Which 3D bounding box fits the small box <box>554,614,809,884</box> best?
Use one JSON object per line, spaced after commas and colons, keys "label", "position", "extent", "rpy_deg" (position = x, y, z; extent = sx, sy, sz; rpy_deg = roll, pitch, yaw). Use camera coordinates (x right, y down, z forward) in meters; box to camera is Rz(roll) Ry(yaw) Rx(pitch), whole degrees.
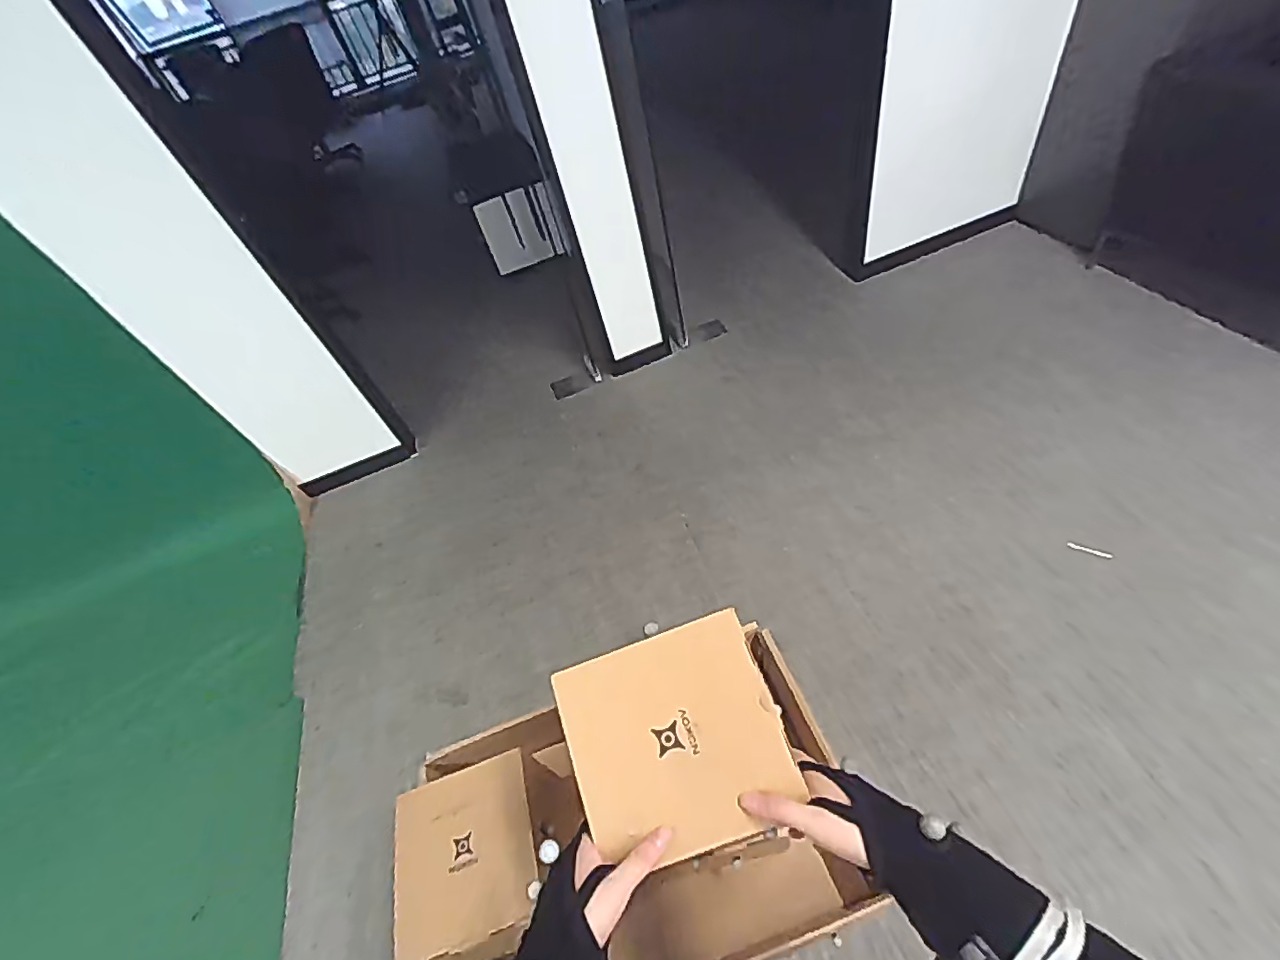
{"label": "small box", "position": [0.039, 0.248, 0.522], "extent": [0.179, 0.176, 0.168], "rpy_deg": [-20, 66, -1]}

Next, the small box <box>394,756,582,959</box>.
{"label": "small box", "position": [-0.183, 0.479, 0.674], "extent": [0.168, 0.176, 0.179], "rpy_deg": [-20, 48, -3]}
